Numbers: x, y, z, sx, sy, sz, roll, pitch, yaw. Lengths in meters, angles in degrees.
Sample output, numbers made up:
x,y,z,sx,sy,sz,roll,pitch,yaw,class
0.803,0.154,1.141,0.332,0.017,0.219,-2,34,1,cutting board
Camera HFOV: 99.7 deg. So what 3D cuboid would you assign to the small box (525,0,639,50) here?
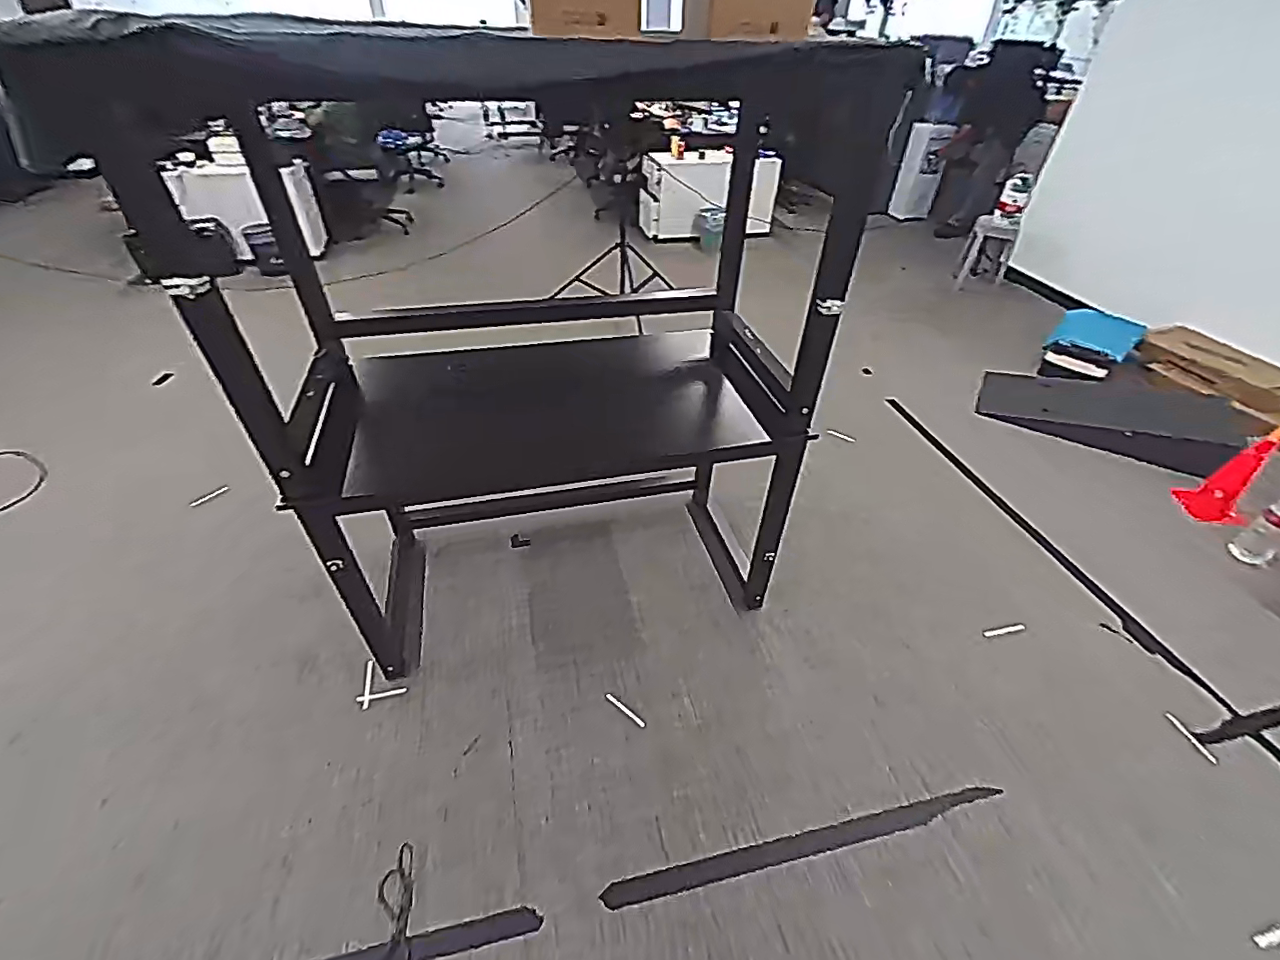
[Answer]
x,y,z,sx,sy,sz,roll,pitch,yaw,class
-0.094,-0.764,0.821,0.168,0.176,0.179,-6,40,-9,small box
